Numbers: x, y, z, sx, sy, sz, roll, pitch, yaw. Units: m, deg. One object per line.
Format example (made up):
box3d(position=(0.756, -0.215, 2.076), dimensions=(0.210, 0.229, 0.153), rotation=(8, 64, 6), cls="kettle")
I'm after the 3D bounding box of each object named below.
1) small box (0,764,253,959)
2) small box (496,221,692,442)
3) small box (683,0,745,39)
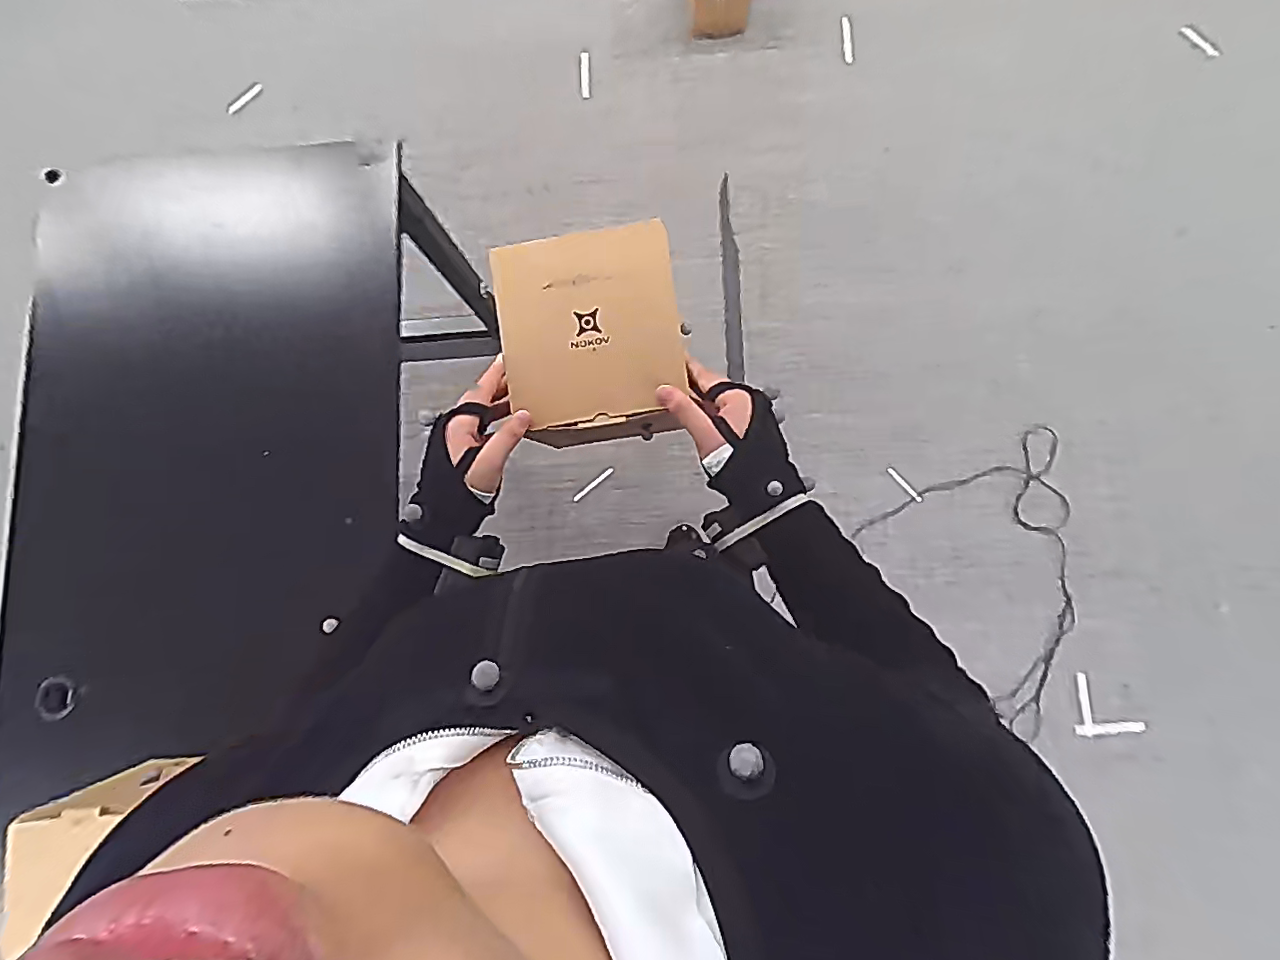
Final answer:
box3d(position=(-0.624, 0.473, 0.677), dimensions=(0.168, 0.176, 0.179), rotation=(-5, 82, 2), cls="small box")
box3d(position=(-0.037, -0.138, 0.572), dimensions=(0.168, 0.176, 0.179), rotation=(-8, 88, 3), cls="small box")
box3d(position=(0.217, -1.449, 1.595), dimensions=(0.179, 0.176, 0.168), rotation=(-2, 84, 1), cls="small box")
